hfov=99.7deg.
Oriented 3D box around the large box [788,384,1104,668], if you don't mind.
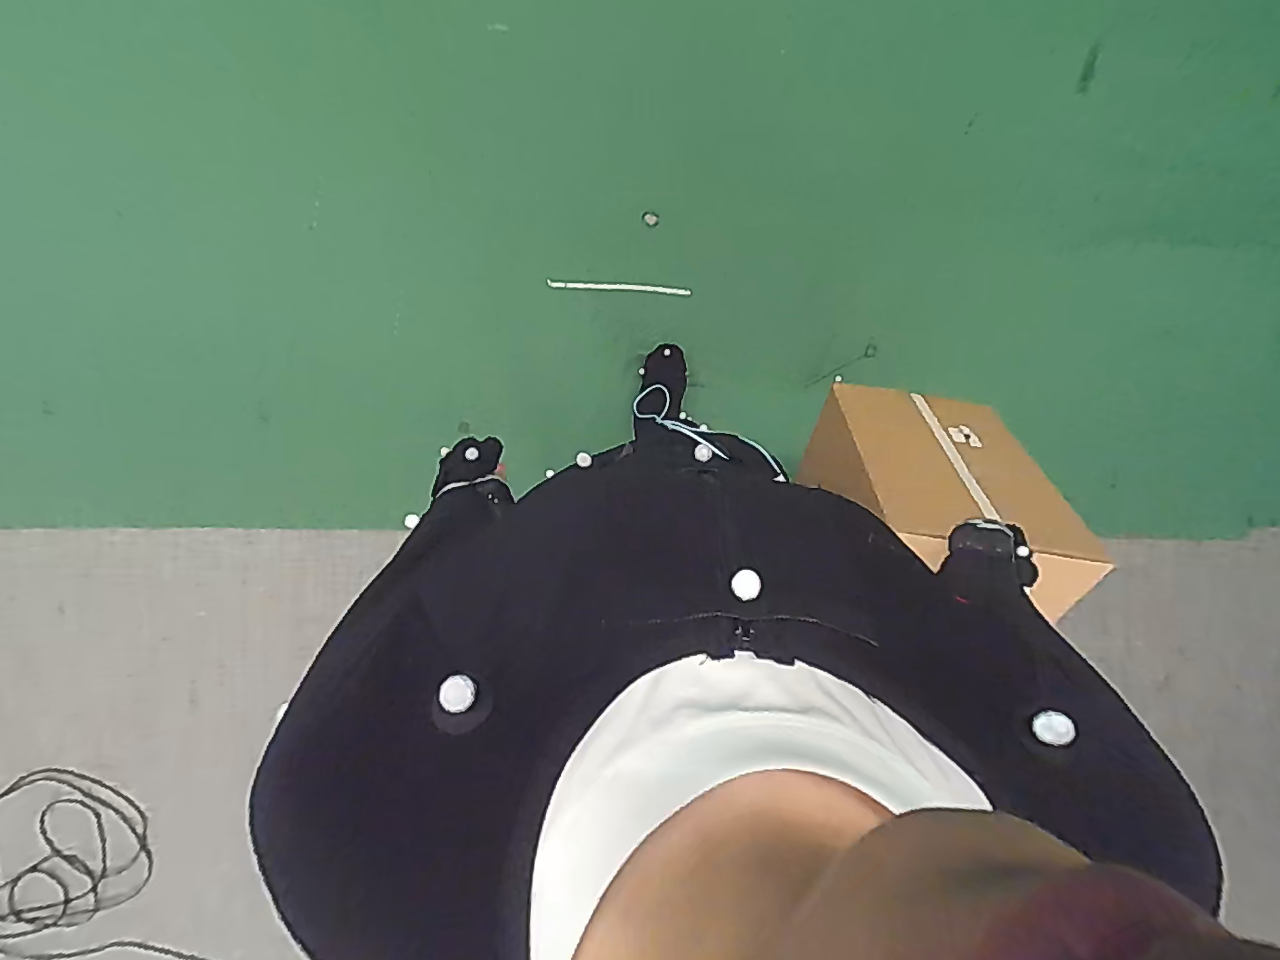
[{"bbox_3d":[0.485,0.073,0.983,0.320,0.408,0.320,9,129,-2],"label":"large box"}]
